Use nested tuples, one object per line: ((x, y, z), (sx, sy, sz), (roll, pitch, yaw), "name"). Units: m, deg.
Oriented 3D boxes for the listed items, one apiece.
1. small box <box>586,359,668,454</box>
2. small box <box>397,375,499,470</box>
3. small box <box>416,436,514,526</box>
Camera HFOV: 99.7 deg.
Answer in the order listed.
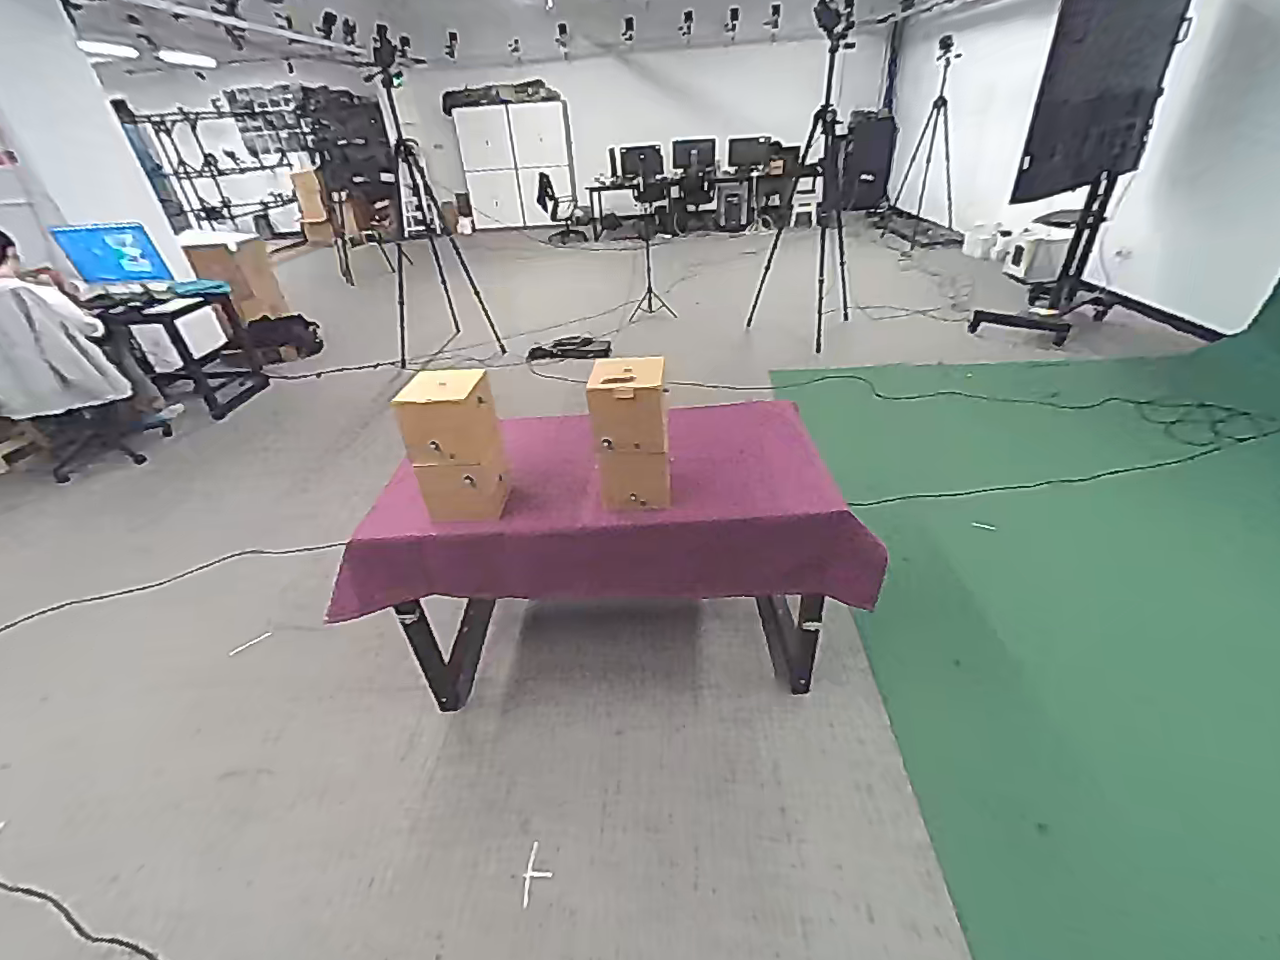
((-0.022, -0.171, 1.275), (0.168, 0.176, 0.179), (-1, 33, 7), "small box")
((-0.446, -0.138, 1.290), (0.168, 0.176, 0.179), (-2, 34, 4), "small box")
((-0.431, 0.002, 1.372), (0.179, 0.176, 0.168), (-3, 33, 4), "small box")
